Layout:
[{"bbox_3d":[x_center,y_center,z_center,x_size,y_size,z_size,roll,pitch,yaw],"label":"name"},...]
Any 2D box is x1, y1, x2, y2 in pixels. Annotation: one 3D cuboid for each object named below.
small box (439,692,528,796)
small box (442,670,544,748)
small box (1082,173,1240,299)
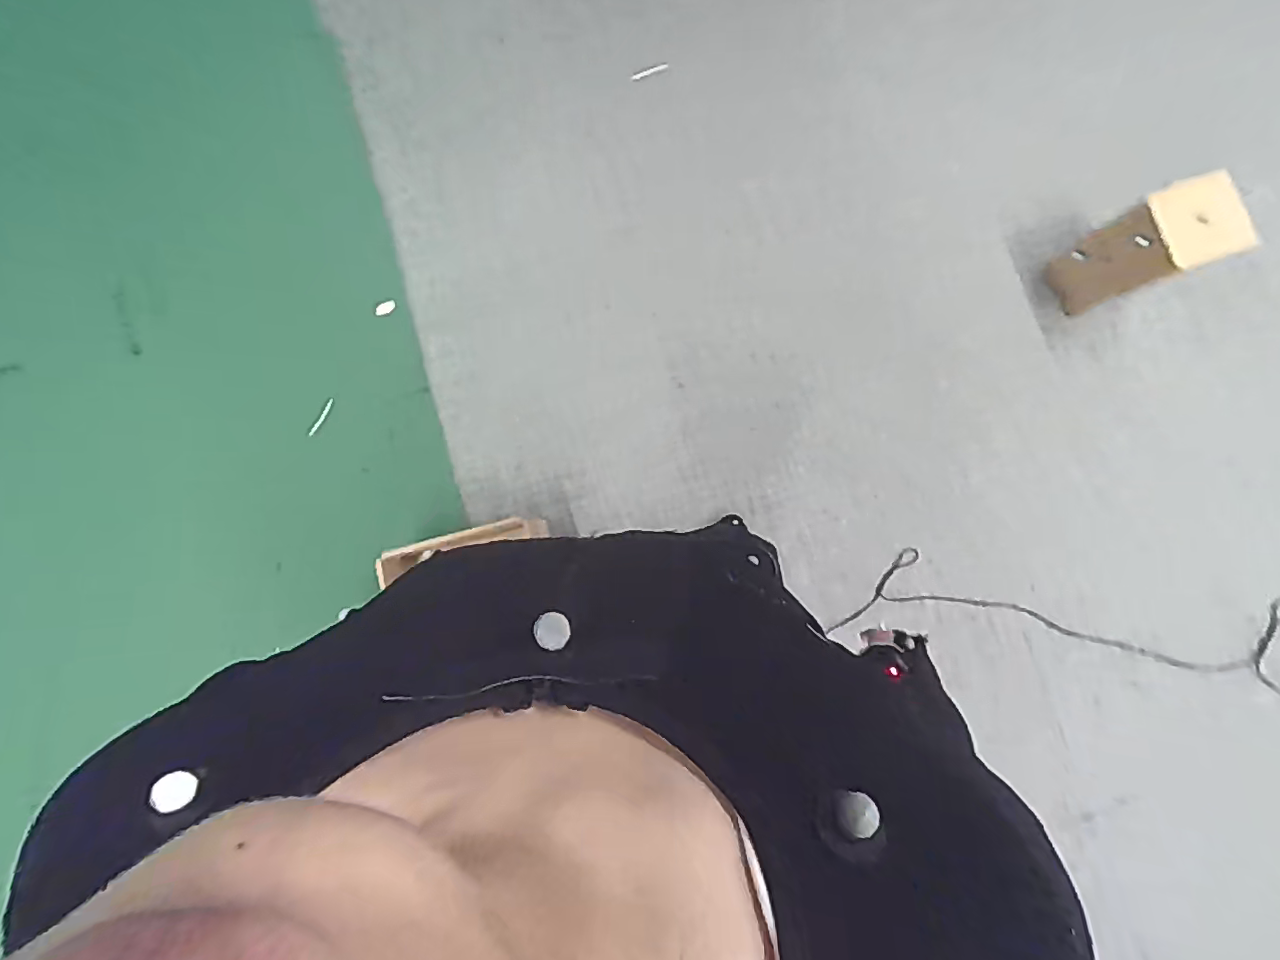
[{"bbox_3d":[-0.356,0.583,1.179,0.179,0.176,0.168,-17,84,3],"label":"small box"},{"bbox_3d":[-0.358,0.593,1.342,0.179,0.176,0.168,-18,85,2],"label":"small box"},{"bbox_3d":[1.160,-0.542,1.222,0.168,0.176,0.179,-20,86,3],"label":"small box"}]
